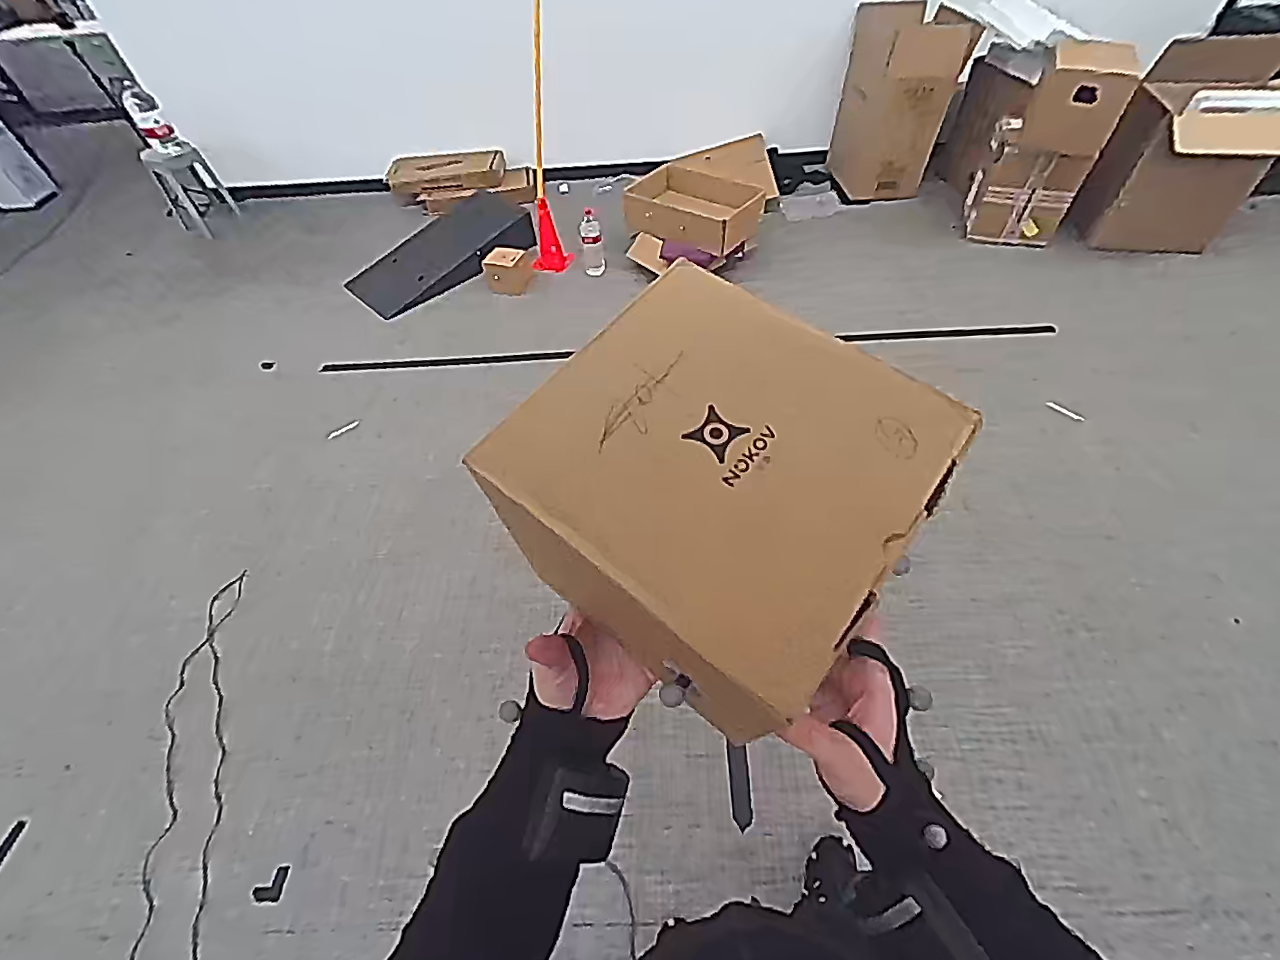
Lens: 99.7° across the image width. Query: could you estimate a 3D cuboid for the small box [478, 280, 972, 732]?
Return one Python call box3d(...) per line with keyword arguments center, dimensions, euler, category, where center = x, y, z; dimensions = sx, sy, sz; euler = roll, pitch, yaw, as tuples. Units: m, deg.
box3d(center=(0.042, 0.025, 0.323), dimensions=(0.179, 0.176, 0.168), euler=(35, 68, 19), category="small box")
